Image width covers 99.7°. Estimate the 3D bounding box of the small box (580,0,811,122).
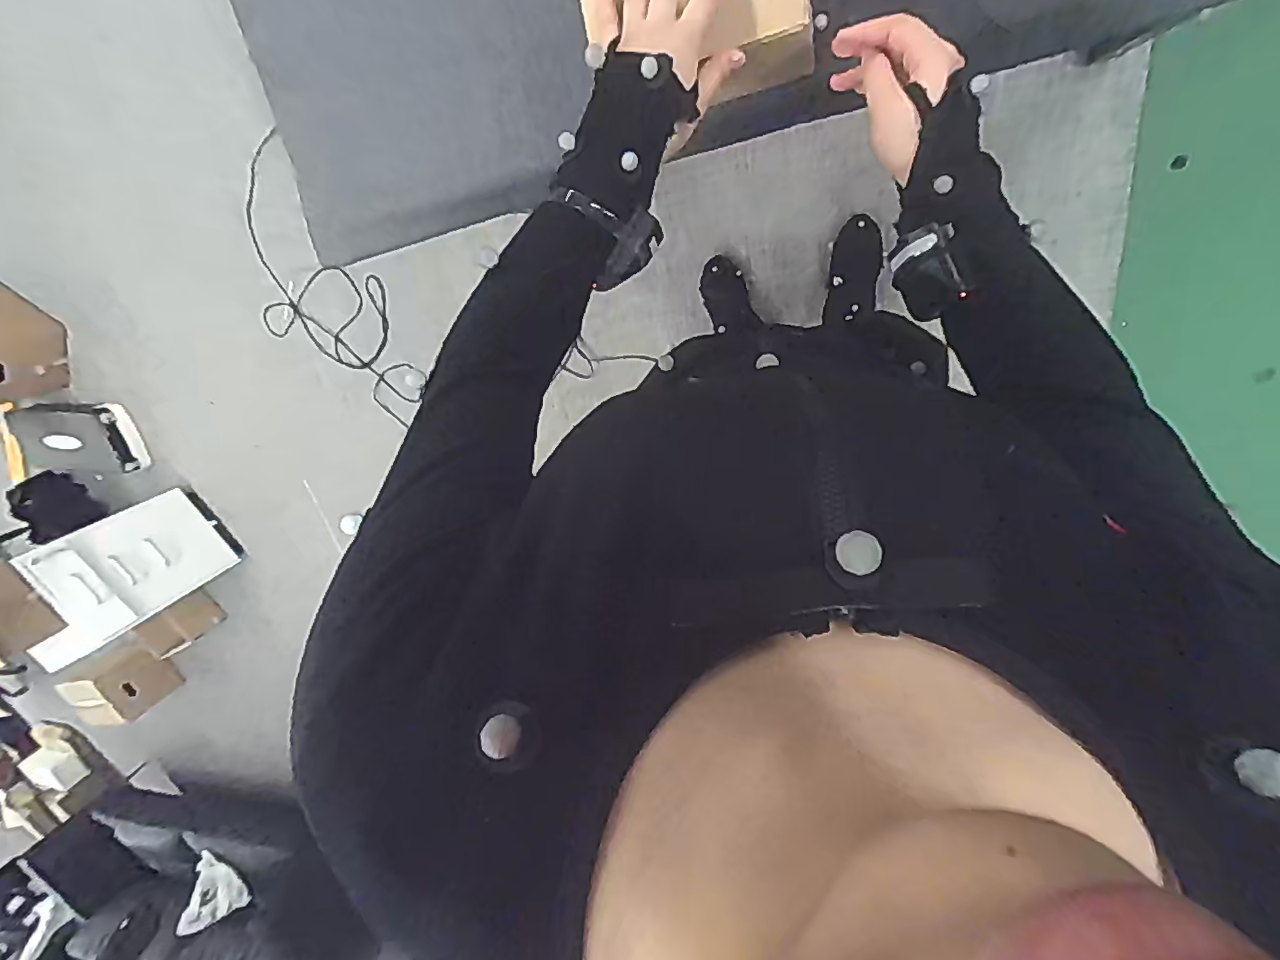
[{"bbox_3d":[0.054,-0.440,0.476,0.179,0.176,0.168,-3,115,22],"label":"small box"}]
